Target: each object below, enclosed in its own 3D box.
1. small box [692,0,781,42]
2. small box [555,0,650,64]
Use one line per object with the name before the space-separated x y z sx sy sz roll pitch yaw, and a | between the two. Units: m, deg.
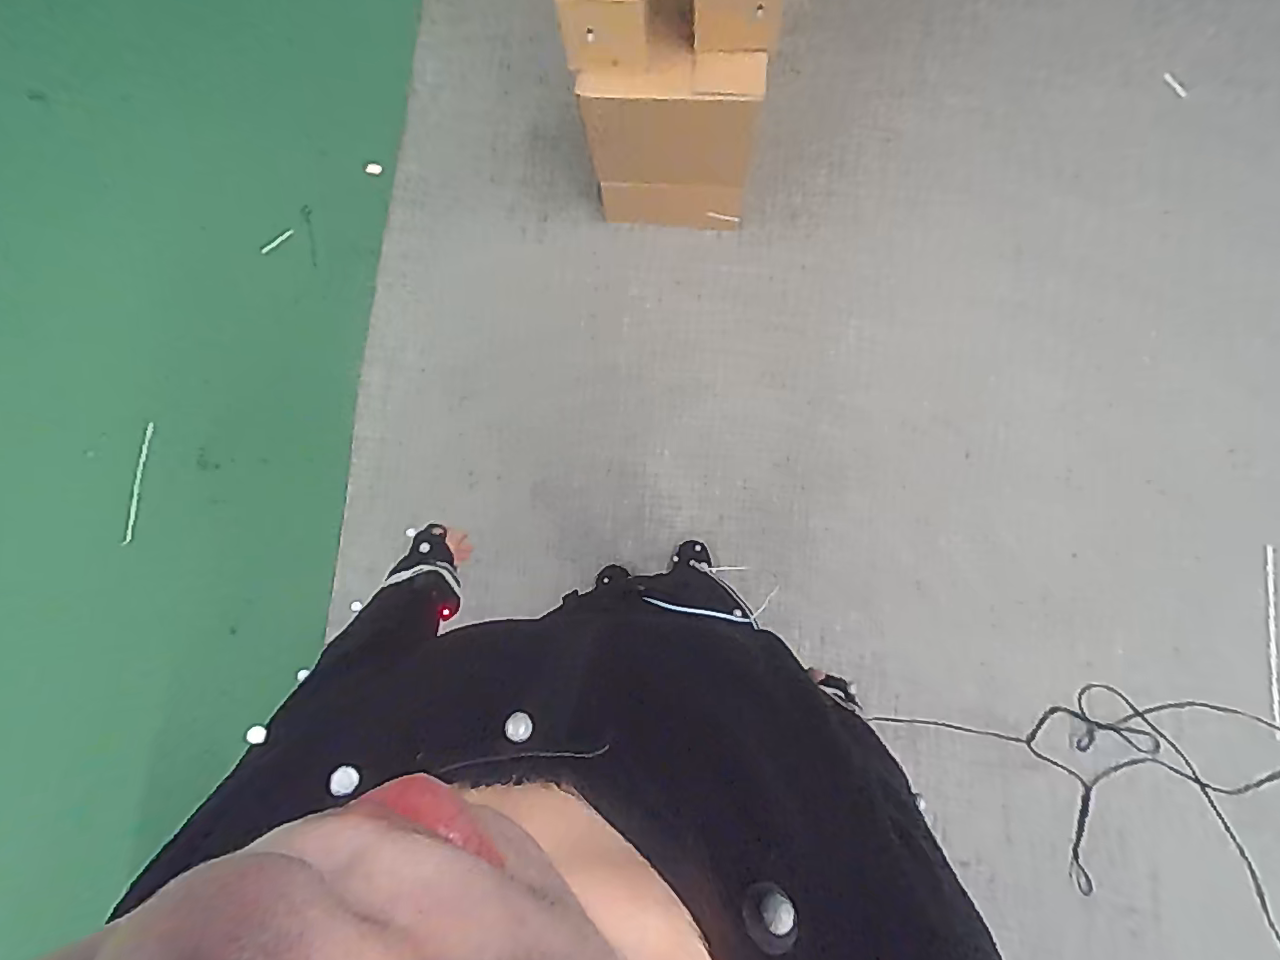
small box | 0.199 -1.019 1.078 0.179 0.176 0.168 4 84 5
small box | -0.069 -0.987 1.089 0.168 0.176 0.179 6 84 3
